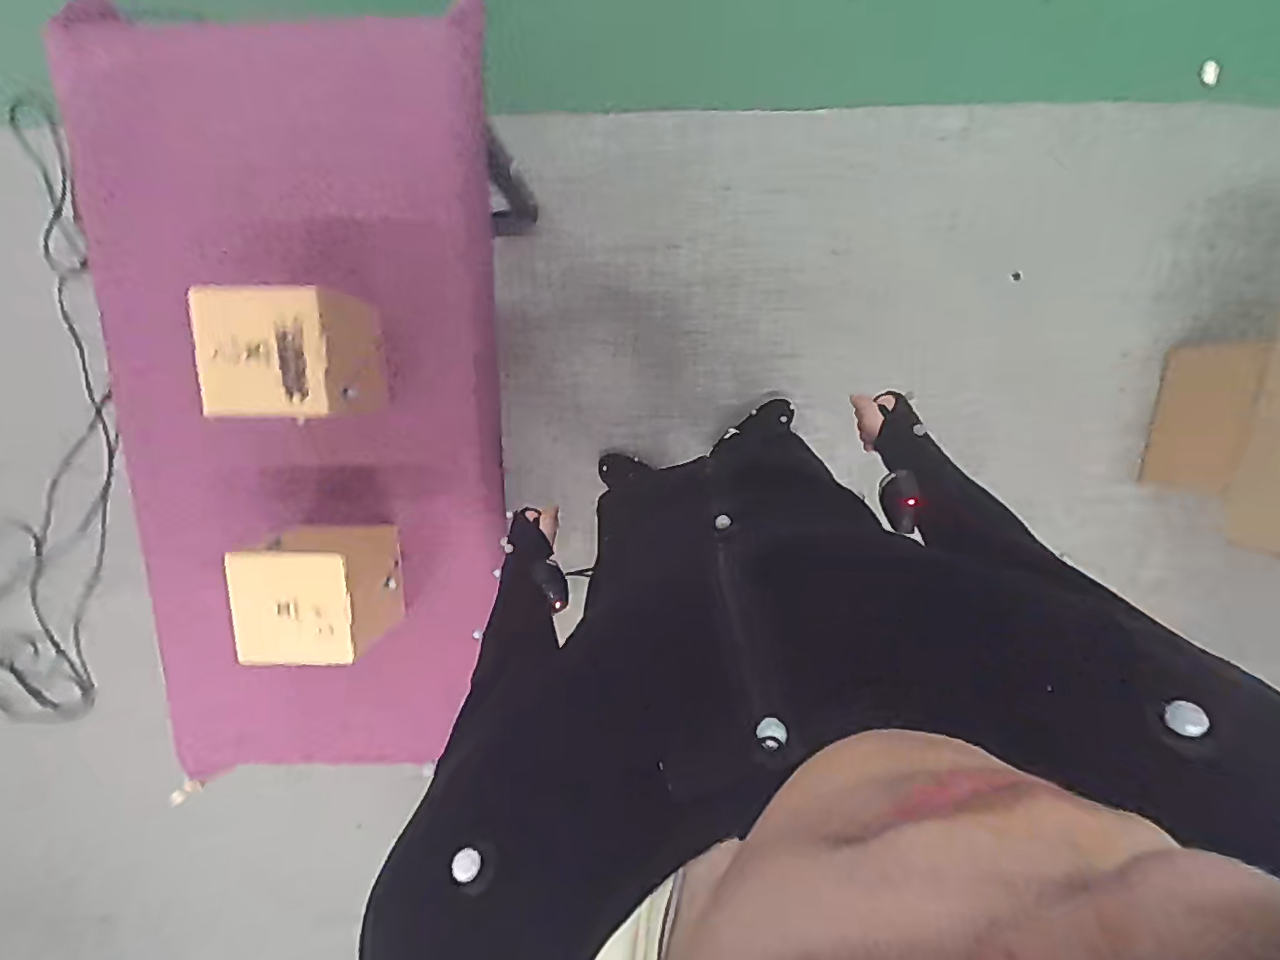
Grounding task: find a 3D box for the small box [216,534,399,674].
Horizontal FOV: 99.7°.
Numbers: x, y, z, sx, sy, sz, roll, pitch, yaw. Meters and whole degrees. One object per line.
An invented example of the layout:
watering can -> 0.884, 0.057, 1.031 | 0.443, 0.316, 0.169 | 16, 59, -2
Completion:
small box -> -0.502, 0.183, 0.839 | 0.179, 0.176, 0.168 | 0, 99, 1
